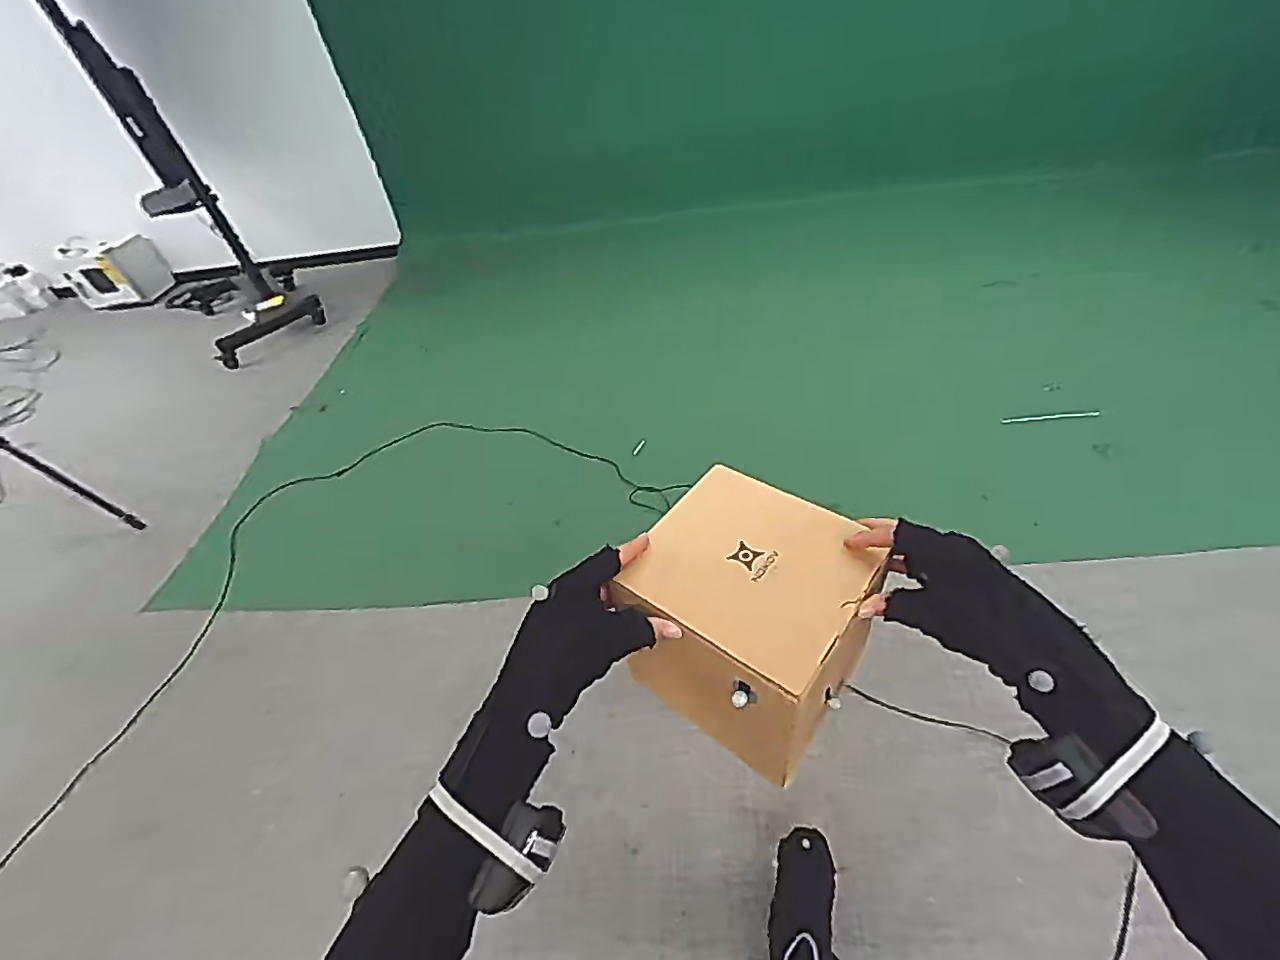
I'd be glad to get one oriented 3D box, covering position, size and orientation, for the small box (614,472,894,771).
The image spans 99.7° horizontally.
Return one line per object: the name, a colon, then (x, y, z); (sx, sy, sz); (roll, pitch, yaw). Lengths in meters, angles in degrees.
small box: (0.100, 0.127, 0.500); (0.179, 0.176, 0.168); (27, 52, 32)
